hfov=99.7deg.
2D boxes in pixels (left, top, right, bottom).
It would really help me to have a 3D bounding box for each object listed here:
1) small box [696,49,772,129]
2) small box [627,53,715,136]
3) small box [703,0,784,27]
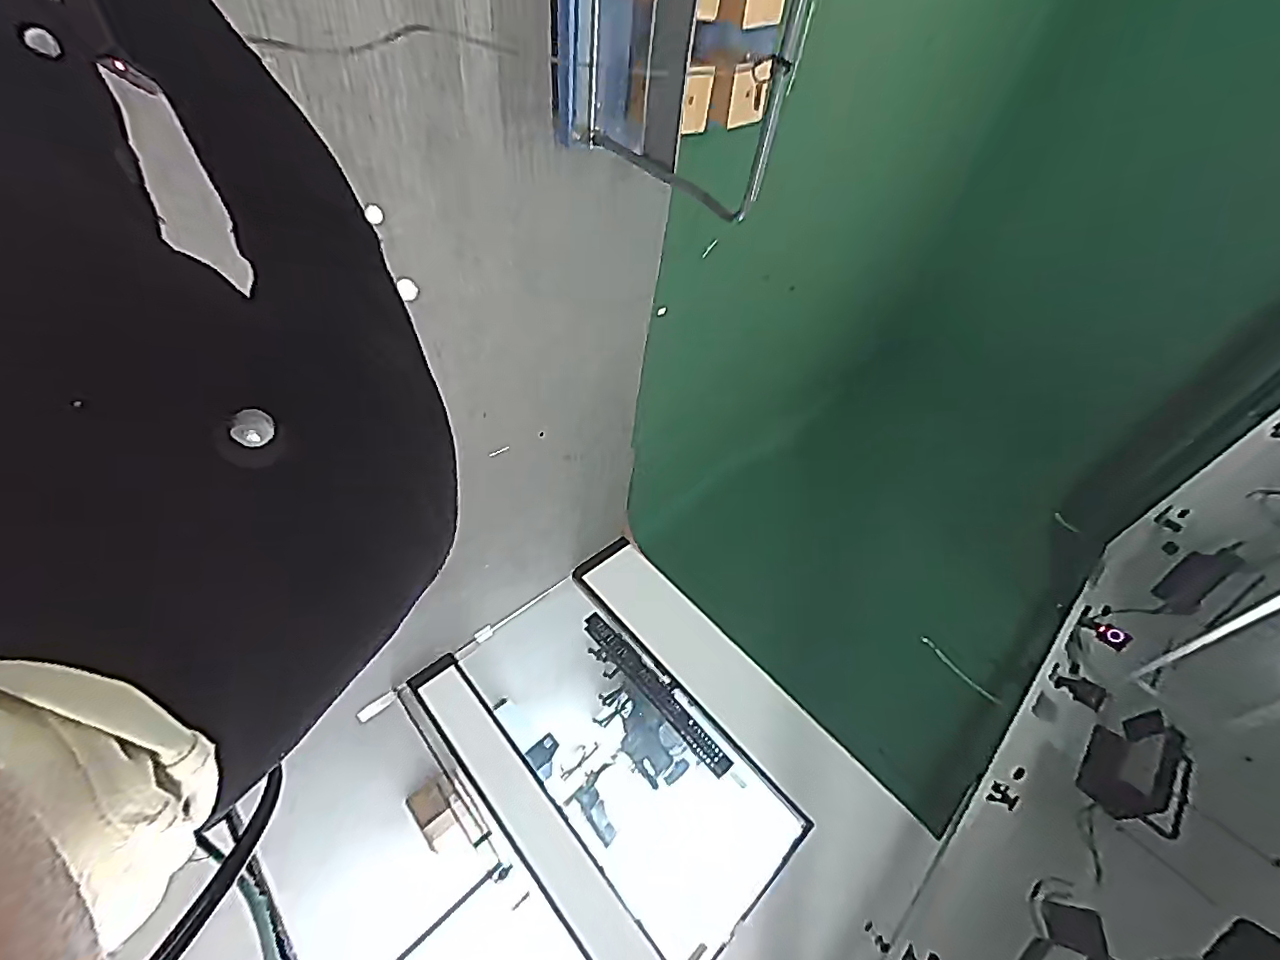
[{"bbox_3d":[0.288,-1.260,1.737,0.179,0.176,0.168,-32,149,-27],"label":"small box"},{"bbox_3d":[0.088,-1.144,1.598,0.179,0.176,0.168,-29,148,-31],"label":"small box"},{"bbox_3d":[0.303,-1.421,1.544,0.179,0.176,0.168,-33,151,-28],"label":"small box"}]
